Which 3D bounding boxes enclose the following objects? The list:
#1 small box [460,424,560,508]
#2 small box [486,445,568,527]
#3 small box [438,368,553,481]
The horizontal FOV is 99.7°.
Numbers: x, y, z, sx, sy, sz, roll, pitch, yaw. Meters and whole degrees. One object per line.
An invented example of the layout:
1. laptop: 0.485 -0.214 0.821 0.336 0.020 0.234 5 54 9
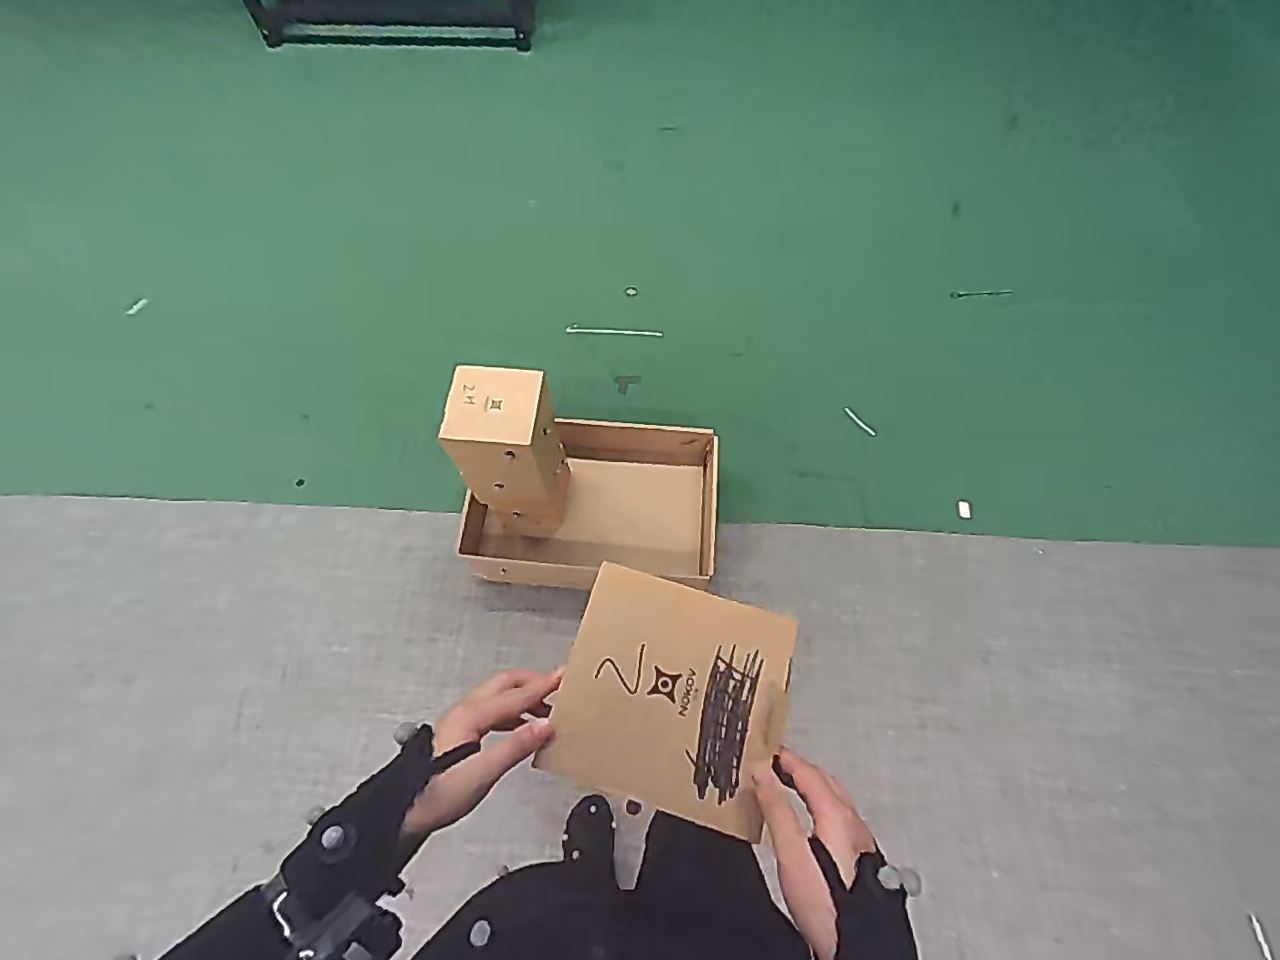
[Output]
1. small box: -0.290 -0.043 1.244 0.179 0.176 0.168 5 67 1
2. small box: -0.284 0.014 1.398 0.168 0.176 0.179 3 67 1
3. small box: -0.279 -0.106 1.091 0.179 0.176 0.168 4 66 2
